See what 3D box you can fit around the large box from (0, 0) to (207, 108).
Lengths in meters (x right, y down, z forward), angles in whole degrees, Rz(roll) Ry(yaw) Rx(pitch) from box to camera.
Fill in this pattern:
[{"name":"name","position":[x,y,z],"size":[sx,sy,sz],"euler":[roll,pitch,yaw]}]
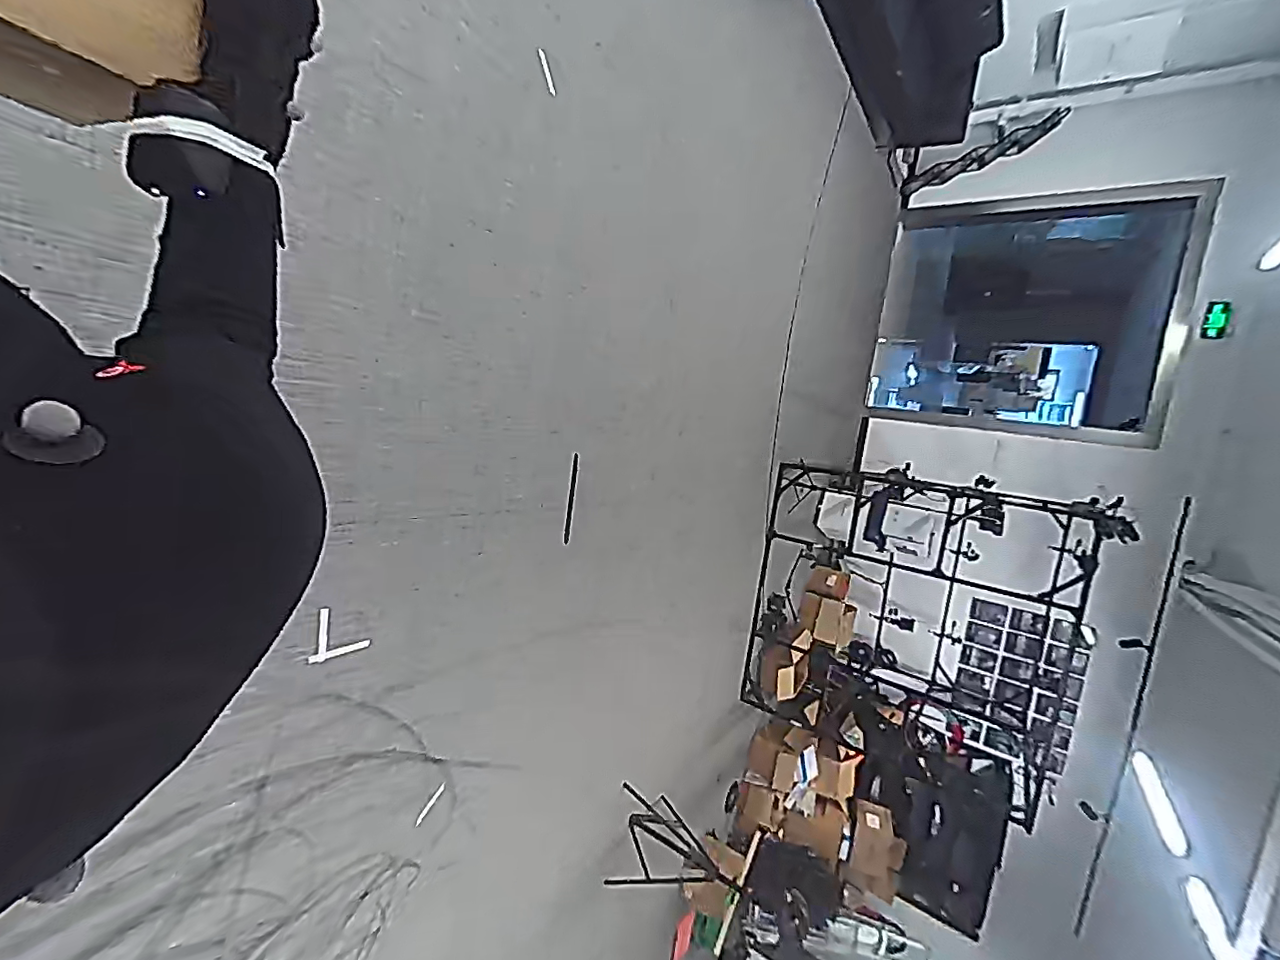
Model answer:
[{"name":"large box","position":[-0.521,-0.478,0.290],"size":[0.408,0.320,0.320],"euler":[2,107,-59]}]
